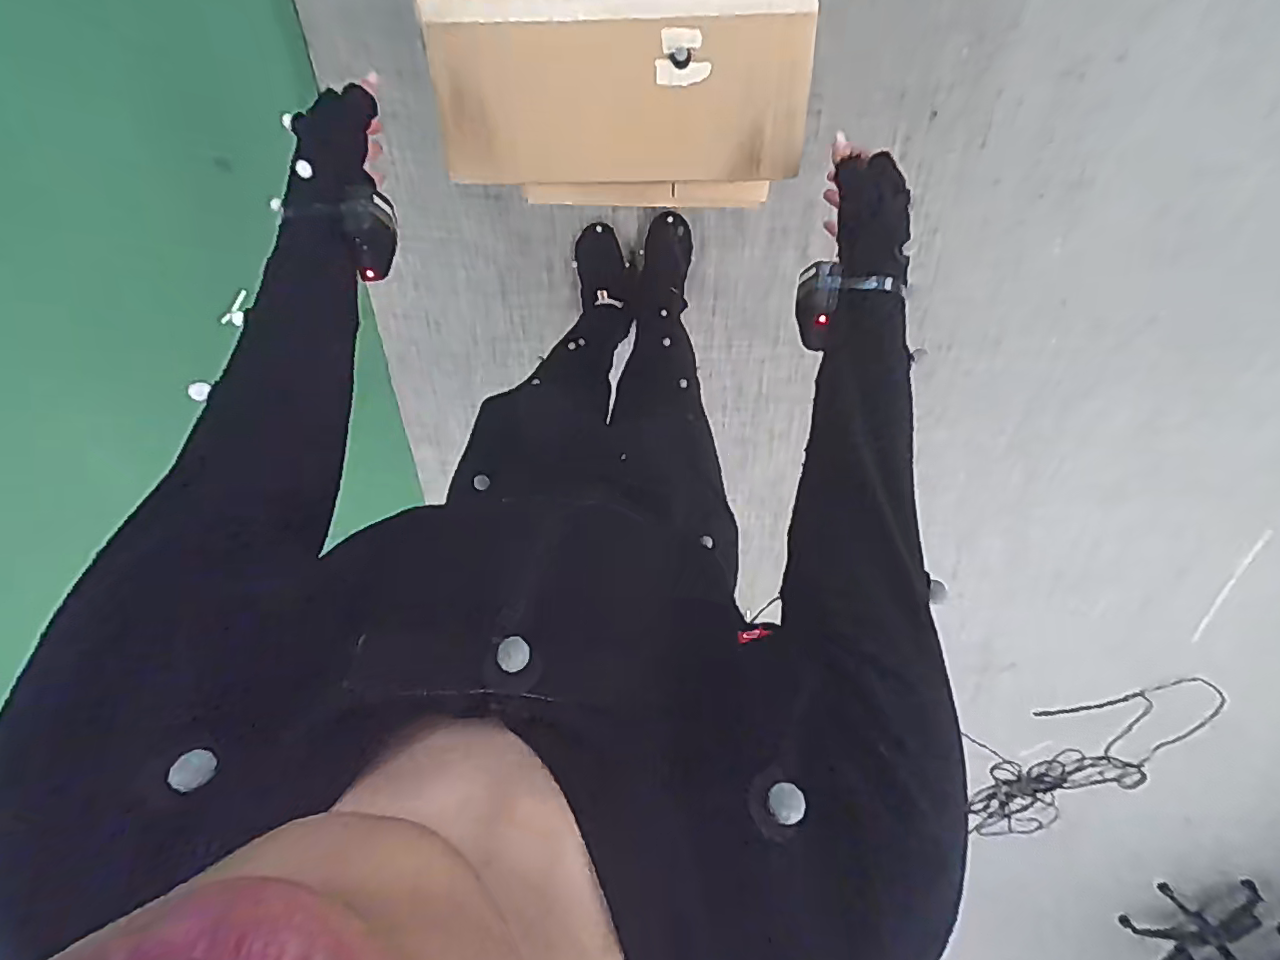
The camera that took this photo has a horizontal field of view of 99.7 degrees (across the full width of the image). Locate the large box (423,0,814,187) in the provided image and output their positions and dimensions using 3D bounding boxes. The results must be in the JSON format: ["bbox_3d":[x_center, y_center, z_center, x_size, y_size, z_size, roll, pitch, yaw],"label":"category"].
[{"bbox_3d":[-0.023,-0.551,0.675,0.408,0.320,0.320,0,118,0],"label":"large box"}]
